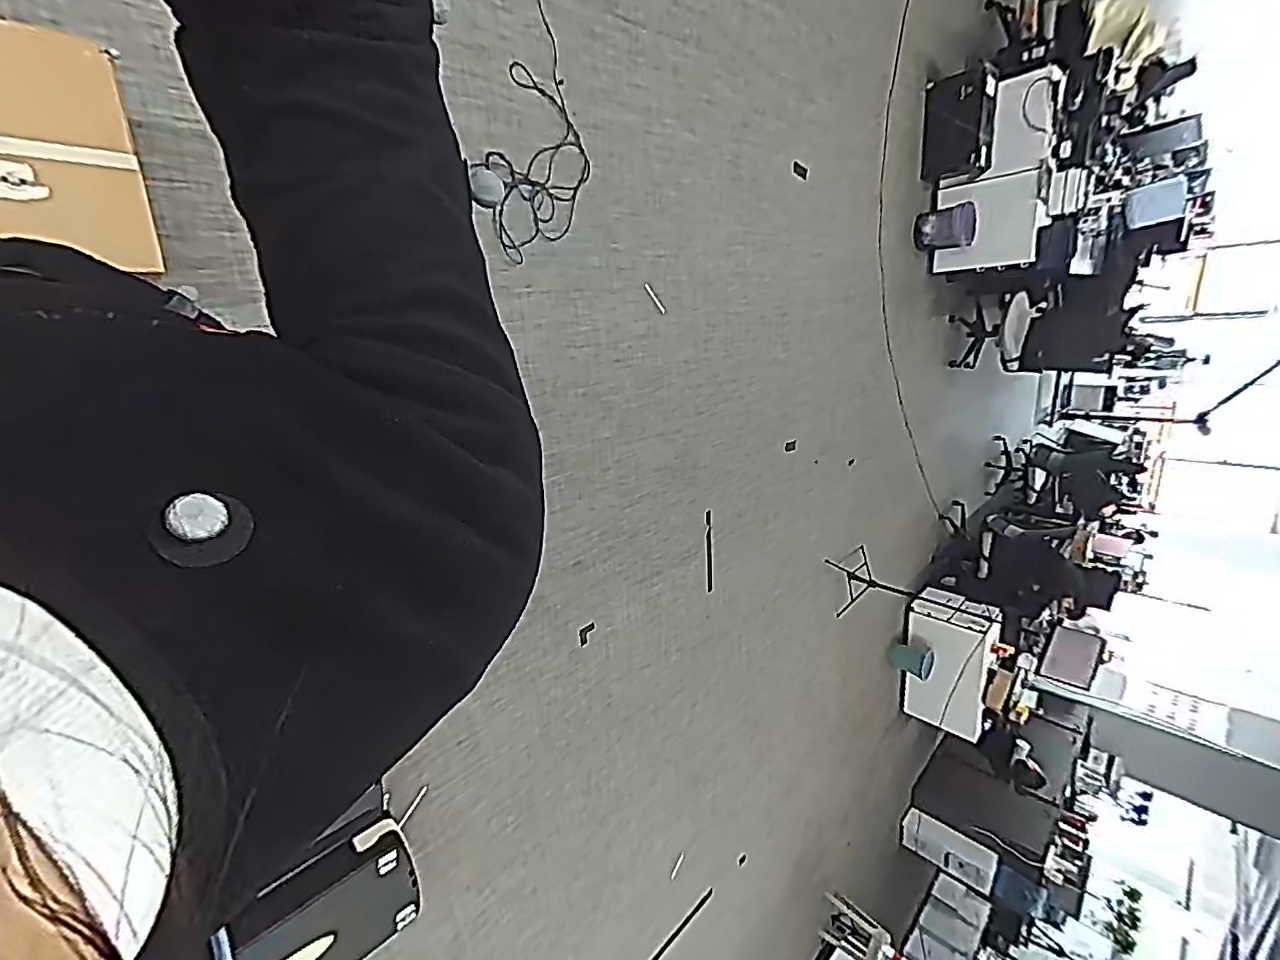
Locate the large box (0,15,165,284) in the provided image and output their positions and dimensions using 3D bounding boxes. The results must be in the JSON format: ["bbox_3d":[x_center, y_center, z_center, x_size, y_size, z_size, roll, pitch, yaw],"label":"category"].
[{"bbox_3d":[-1.010,-0.469,0.796,0.408,0.320,0.320,-16,110,-42],"label":"large box"}]

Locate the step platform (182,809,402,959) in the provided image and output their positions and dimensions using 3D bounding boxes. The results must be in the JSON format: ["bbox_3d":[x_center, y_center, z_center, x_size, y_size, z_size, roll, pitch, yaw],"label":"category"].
[{"bbox_3d":[-0.941,1.142,1.293,0.684,0.204,0.286,-20,112,-39],"label":"step platform"}]
